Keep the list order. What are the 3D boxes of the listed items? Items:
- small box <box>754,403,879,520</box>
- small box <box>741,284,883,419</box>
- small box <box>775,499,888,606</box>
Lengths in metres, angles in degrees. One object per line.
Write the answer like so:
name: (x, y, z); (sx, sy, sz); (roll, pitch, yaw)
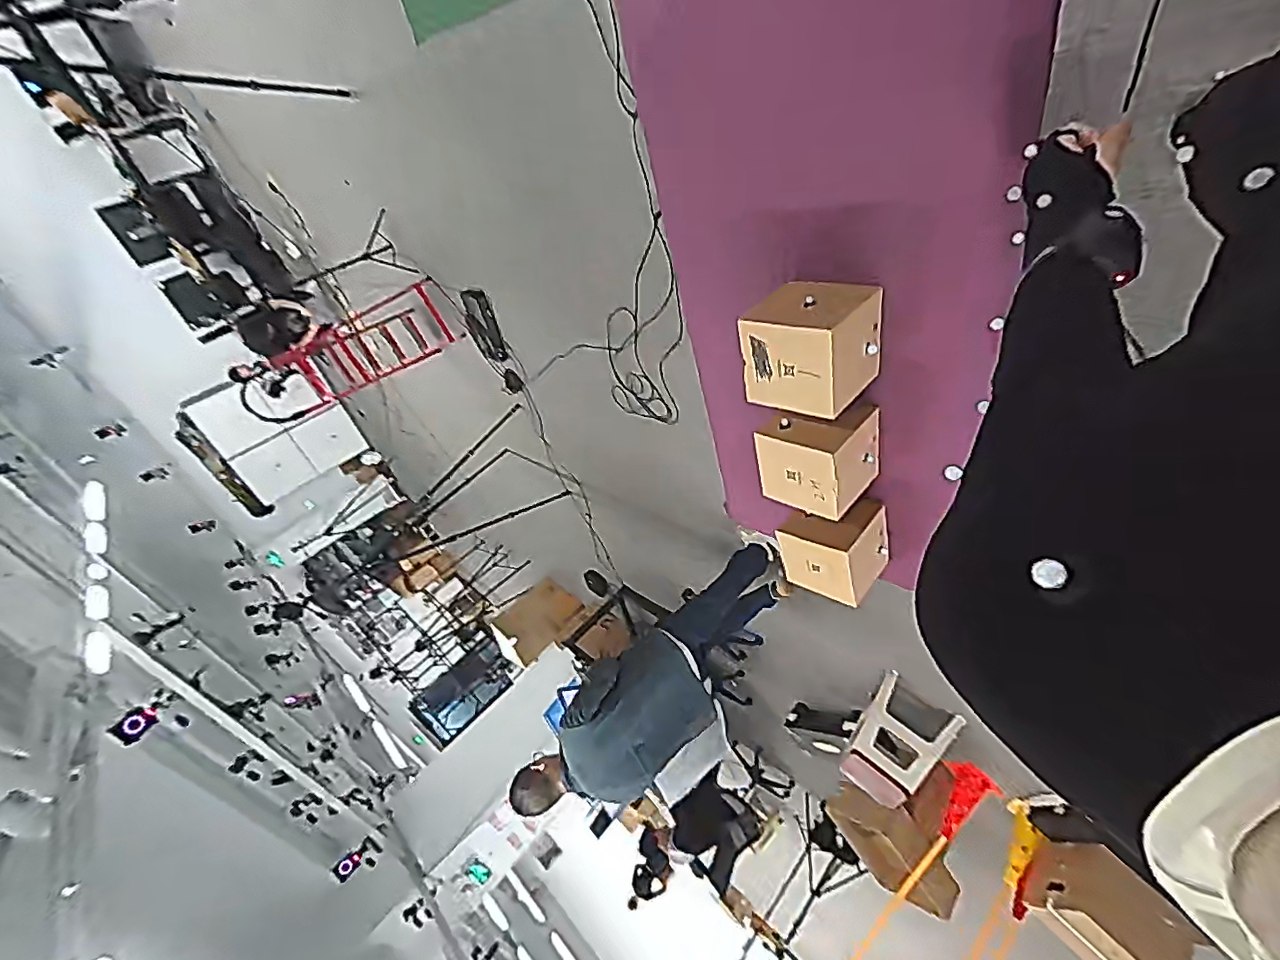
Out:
small box: (0.359, -0.053, 1.098); (0.179, 0.176, 0.168); (22, 141, 42)
small box: (0.304, -0.235, 0.960); (0.179, 0.176, 0.168); (23, 142, 40)
small box: (0.437, 0.147, 1.226); (0.179, 0.176, 0.168); (17, 138, 46)
